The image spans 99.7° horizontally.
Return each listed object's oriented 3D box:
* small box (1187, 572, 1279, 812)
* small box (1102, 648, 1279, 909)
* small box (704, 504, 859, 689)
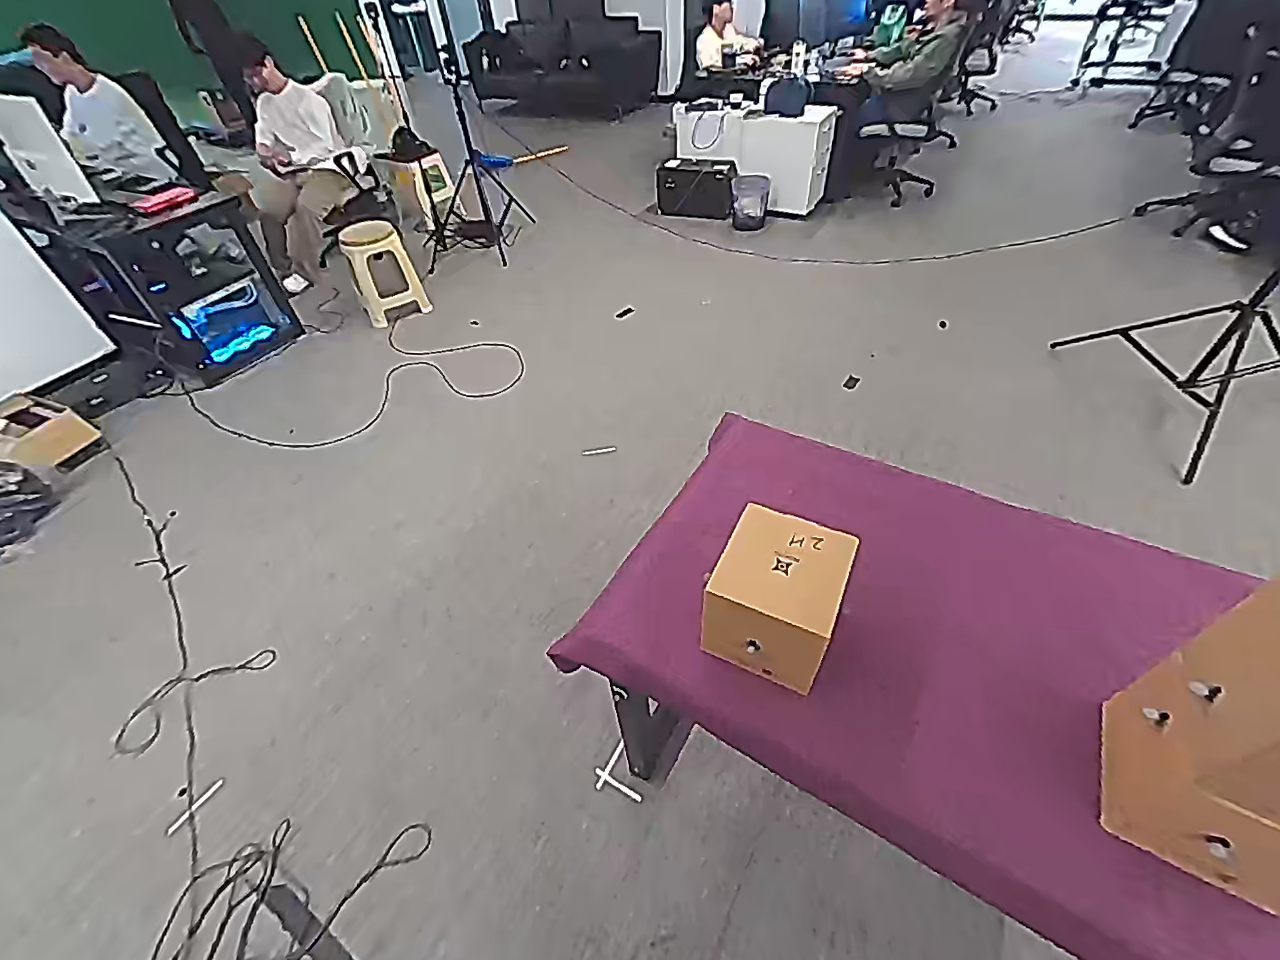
[{"bbox_3d":[0.651,0.214,0.491,0.168,0.176,0.179,22,51,24],"label":"small box"},{"bbox_3d":[0.658,0.332,0.604,0.168,0.176,0.179,21,50,24],"label":"small box"},{"bbox_3d":[0.202,0.172,0.793,0.168,0.176,0.179,19,49,21],"label":"small box"}]
